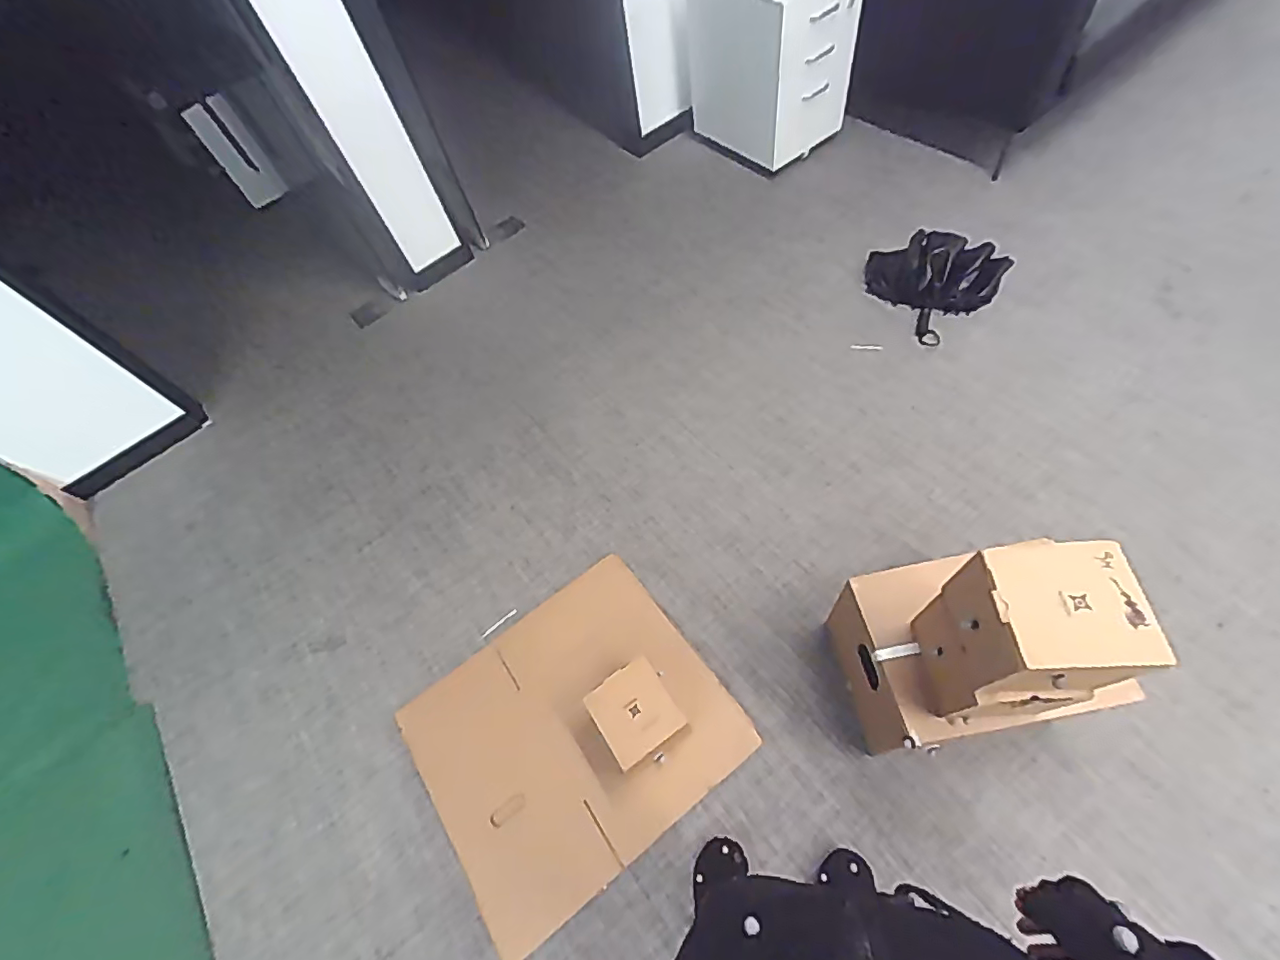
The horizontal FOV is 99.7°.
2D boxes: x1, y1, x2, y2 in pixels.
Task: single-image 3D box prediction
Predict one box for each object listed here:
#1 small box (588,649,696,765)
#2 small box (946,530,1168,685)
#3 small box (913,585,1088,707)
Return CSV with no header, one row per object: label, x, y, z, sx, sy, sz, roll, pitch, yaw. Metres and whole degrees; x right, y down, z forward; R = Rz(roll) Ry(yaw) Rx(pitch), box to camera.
small box,0.008,0.516,1.217,0.168,0.176,0.179,-35,61,-9
small box,0.567,0.189,0.775,0.179,0.176,0.168,-7,58,5
small box,0.585,0.280,0.907,0.168,0.176,0.179,-6,59,6
